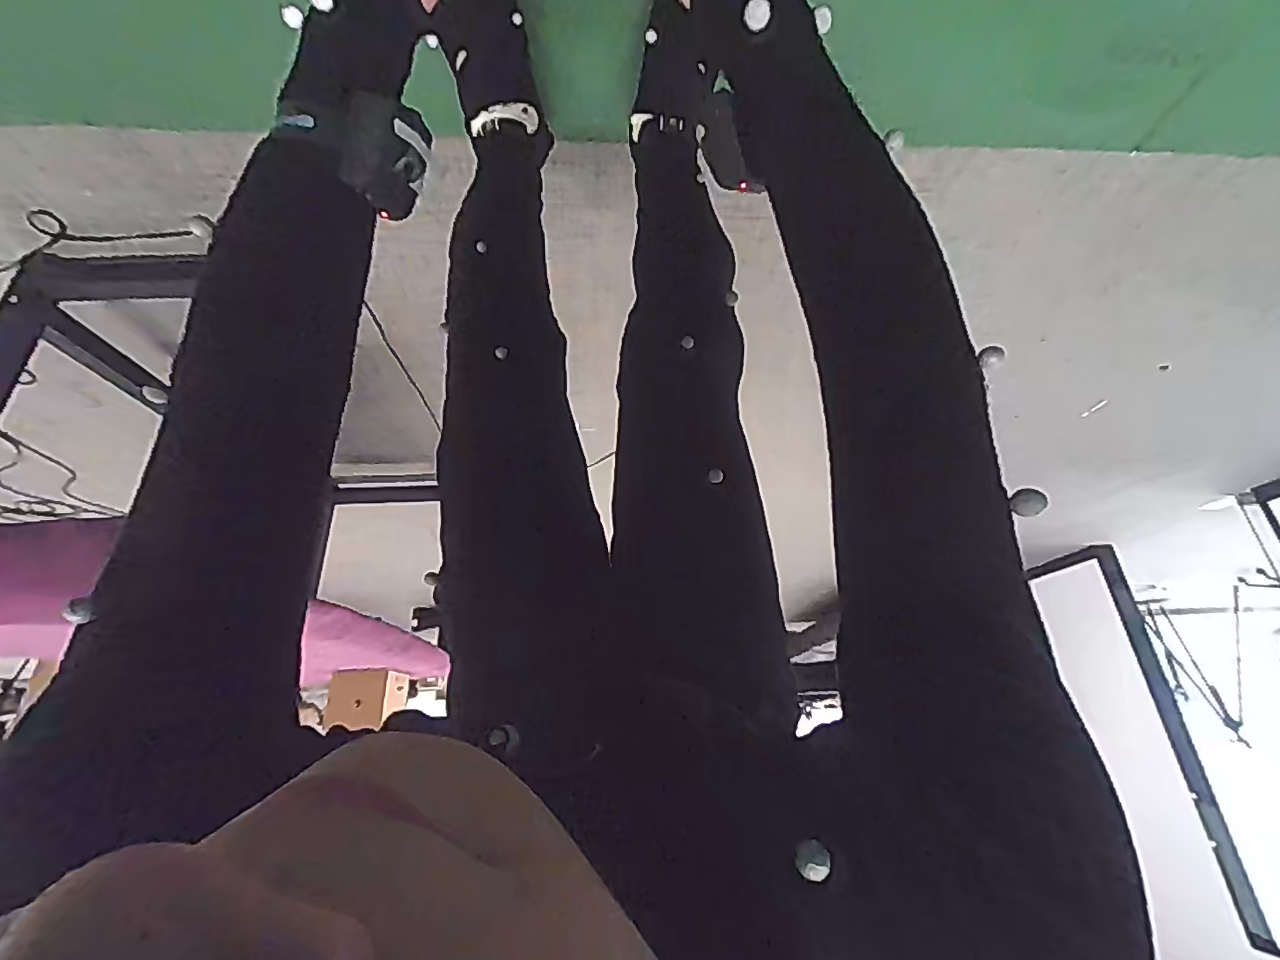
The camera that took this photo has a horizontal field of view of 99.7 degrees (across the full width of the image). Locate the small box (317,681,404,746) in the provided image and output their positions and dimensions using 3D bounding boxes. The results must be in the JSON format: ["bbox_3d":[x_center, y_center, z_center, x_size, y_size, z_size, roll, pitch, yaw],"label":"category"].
[{"bbox_3d":[-0.845,0.714,1.651,0.179,0.176,0.168,-3,155,-2],"label":"small box"}]
